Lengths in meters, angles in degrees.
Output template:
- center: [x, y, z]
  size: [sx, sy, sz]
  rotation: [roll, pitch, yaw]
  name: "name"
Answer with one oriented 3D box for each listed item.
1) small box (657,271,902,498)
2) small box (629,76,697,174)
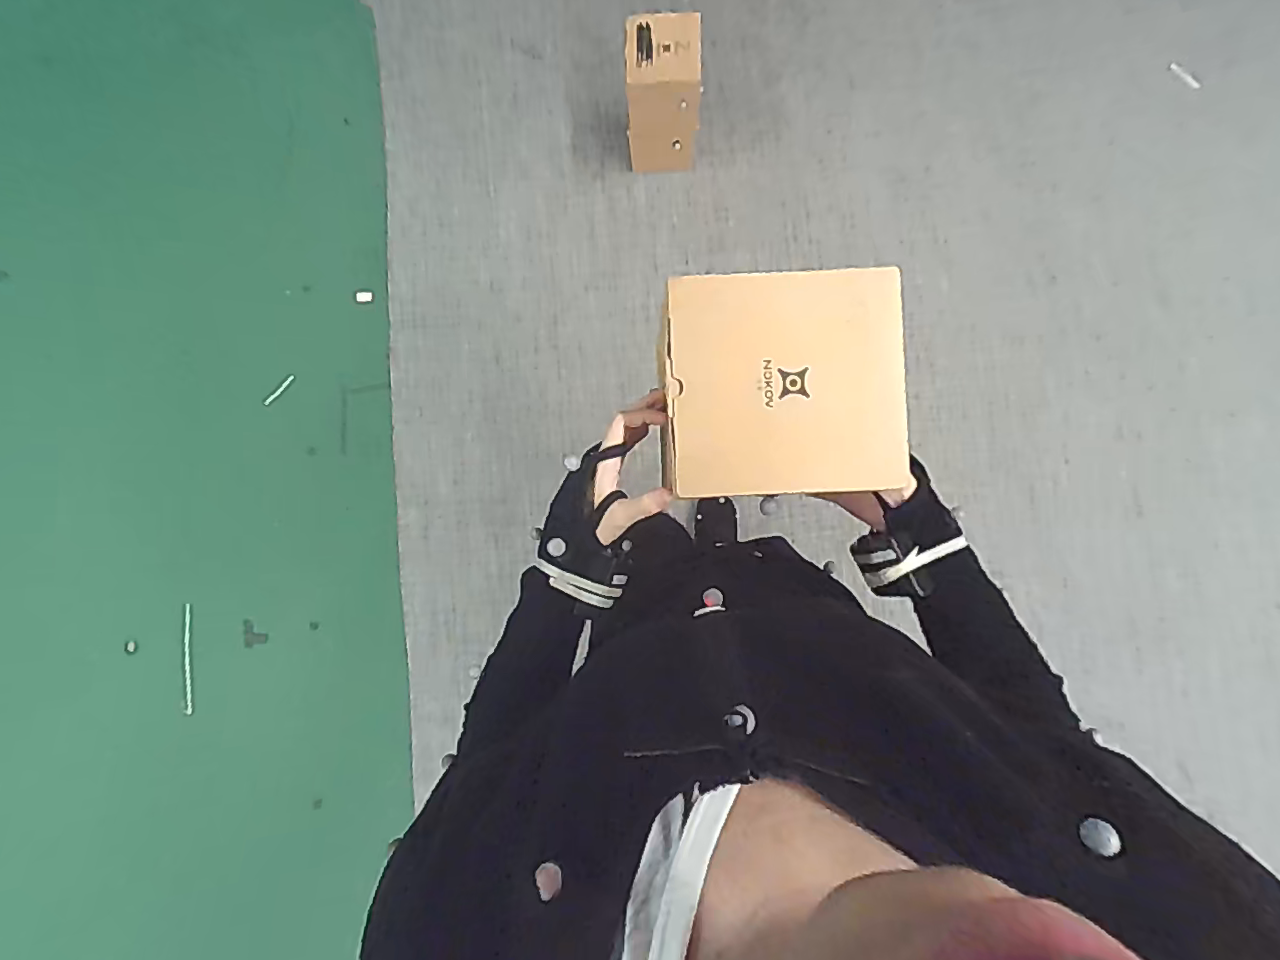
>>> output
- center: [0.108, -0.073, 0.485]
  size: [0.179, 0.176, 0.168]
  rotation: [-3, 90, 1]
  name: "small box"
- center: [0.065, -0.972, 1.491]
  size: [0.179, 0.176, 0.168]
  rotation: [1, 87, 4]
  name: "small box"
